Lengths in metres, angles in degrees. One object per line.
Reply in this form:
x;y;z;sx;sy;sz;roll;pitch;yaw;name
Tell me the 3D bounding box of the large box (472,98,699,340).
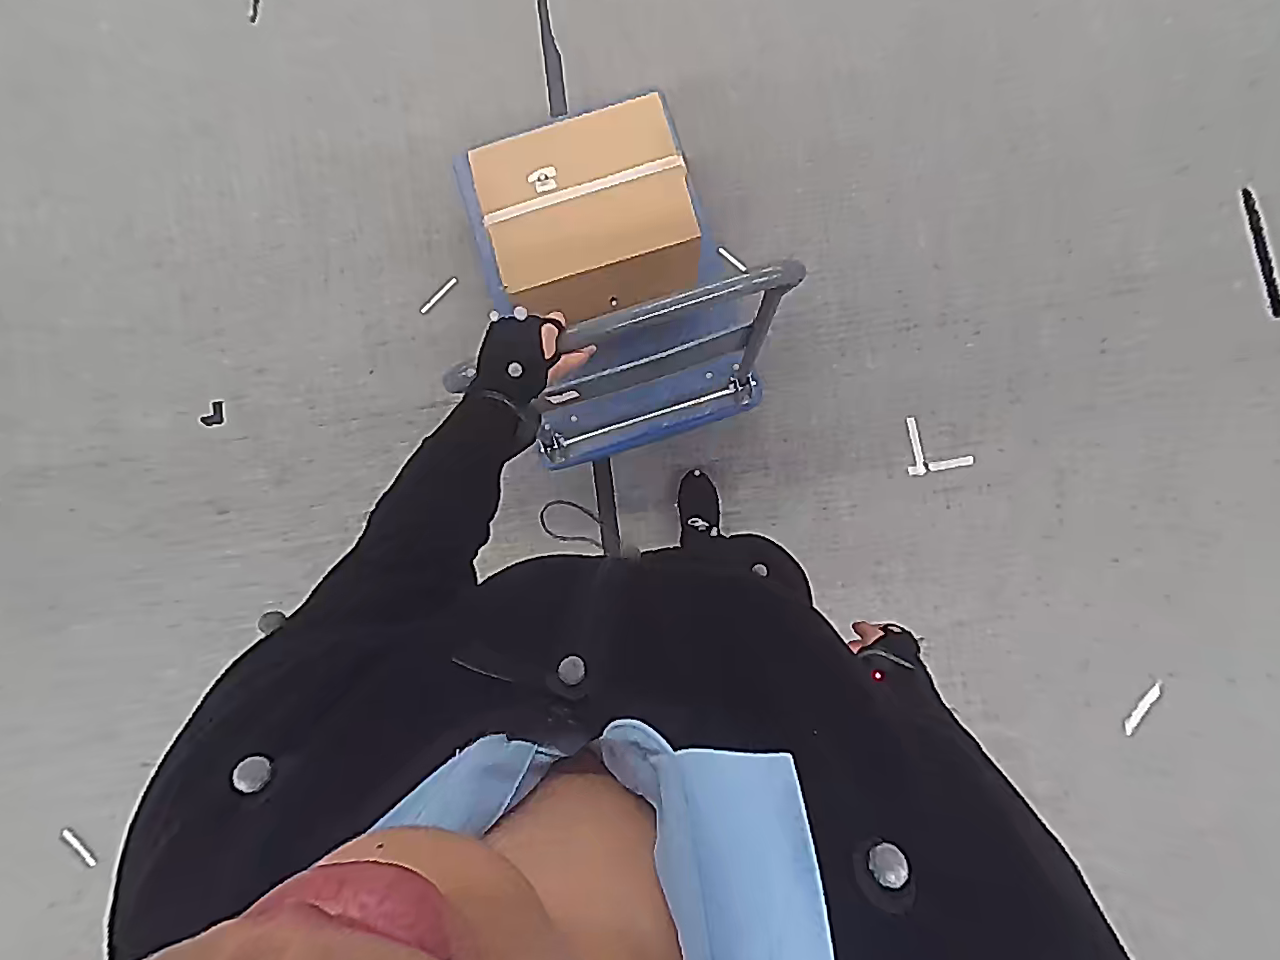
-0.102;-0.561;1.234;0.408;0.320;0.320;-16;85;4;large box
